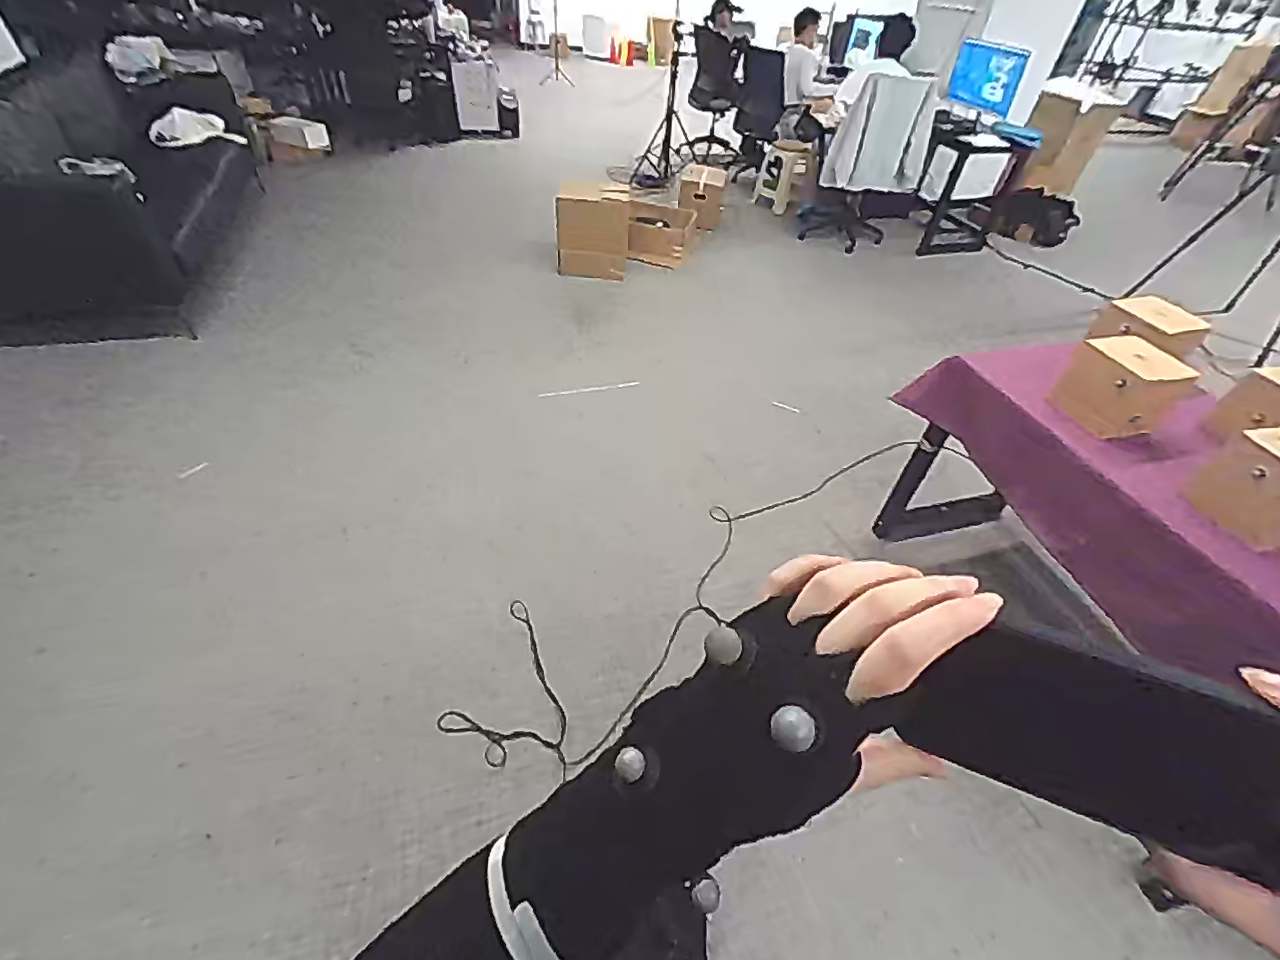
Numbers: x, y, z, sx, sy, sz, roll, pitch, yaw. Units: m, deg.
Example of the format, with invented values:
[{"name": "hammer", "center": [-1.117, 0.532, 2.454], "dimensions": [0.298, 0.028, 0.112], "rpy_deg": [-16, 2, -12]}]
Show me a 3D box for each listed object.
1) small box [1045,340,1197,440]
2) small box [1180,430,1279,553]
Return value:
[{"name": "small box", "center": [1.144, -0.217, 1.305], "dimensions": [0.168, 0.176, 0.179], "rpy_deg": [-7, 46, -13]}, {"name": "small box", "center": [1.255, 0.020, 1.069], "dimensions": [0.168, 0.176, 0.179], "rpy_deg": [-6, 46, -12]}]
